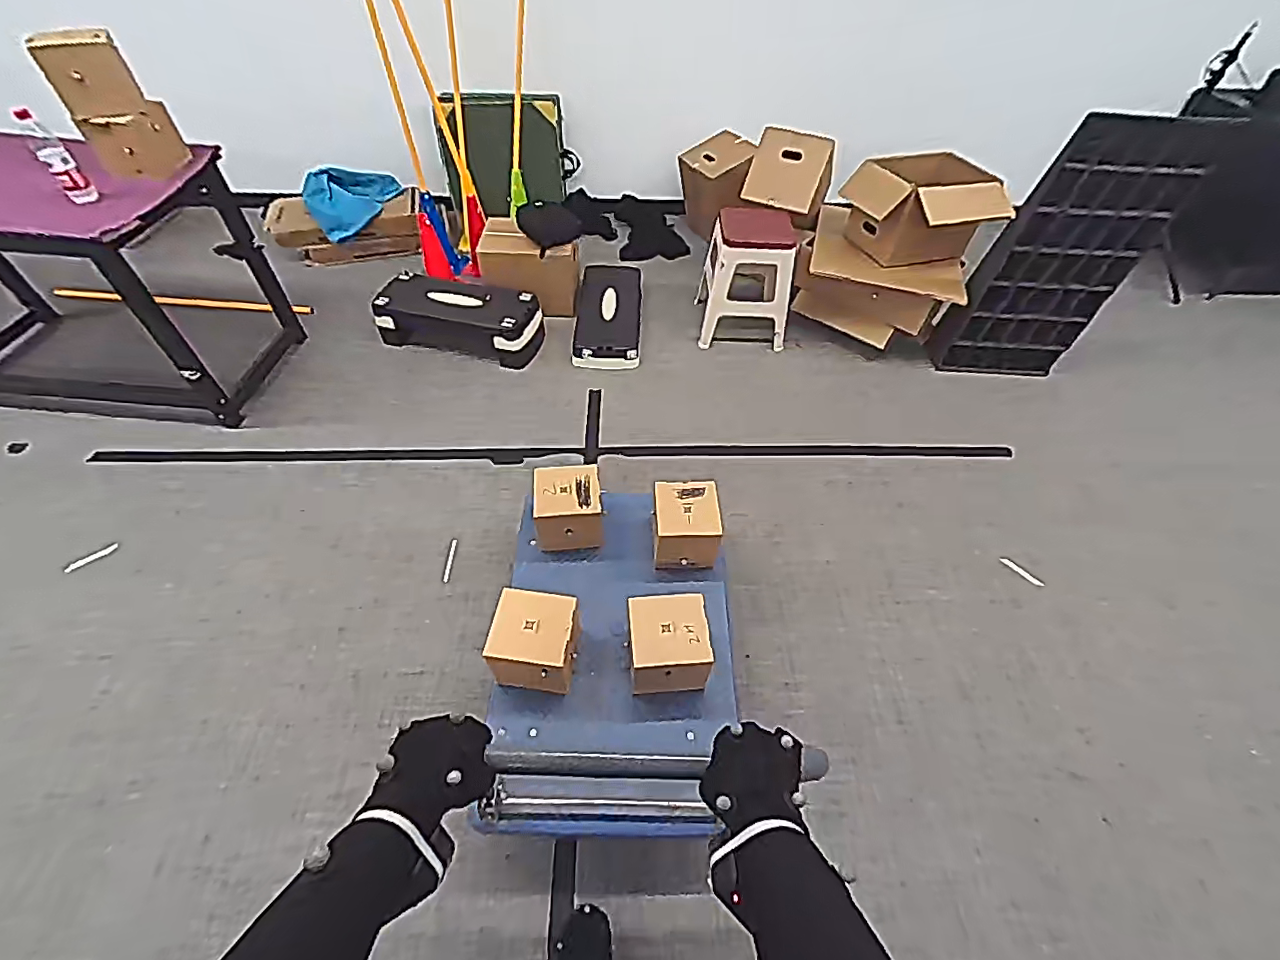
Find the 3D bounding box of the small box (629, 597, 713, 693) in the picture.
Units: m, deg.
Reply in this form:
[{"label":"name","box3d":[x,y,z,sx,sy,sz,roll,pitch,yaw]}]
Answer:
[{"label":"small box","box3d":[0.065,0.388,1.263,0.179,0.176,0.168,-2,51,-4]}]

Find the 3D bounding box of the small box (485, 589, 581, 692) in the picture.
[{"label":"small box","box3d":[-0.239,0.377,1.258,0.179,0.176,0.168,8,51,2]}]

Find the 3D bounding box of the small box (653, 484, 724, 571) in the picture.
[{"label":"small box","box3d":[0.126,0.131,1.477,0.168,0.176,0.179,0,52,-3]}]
